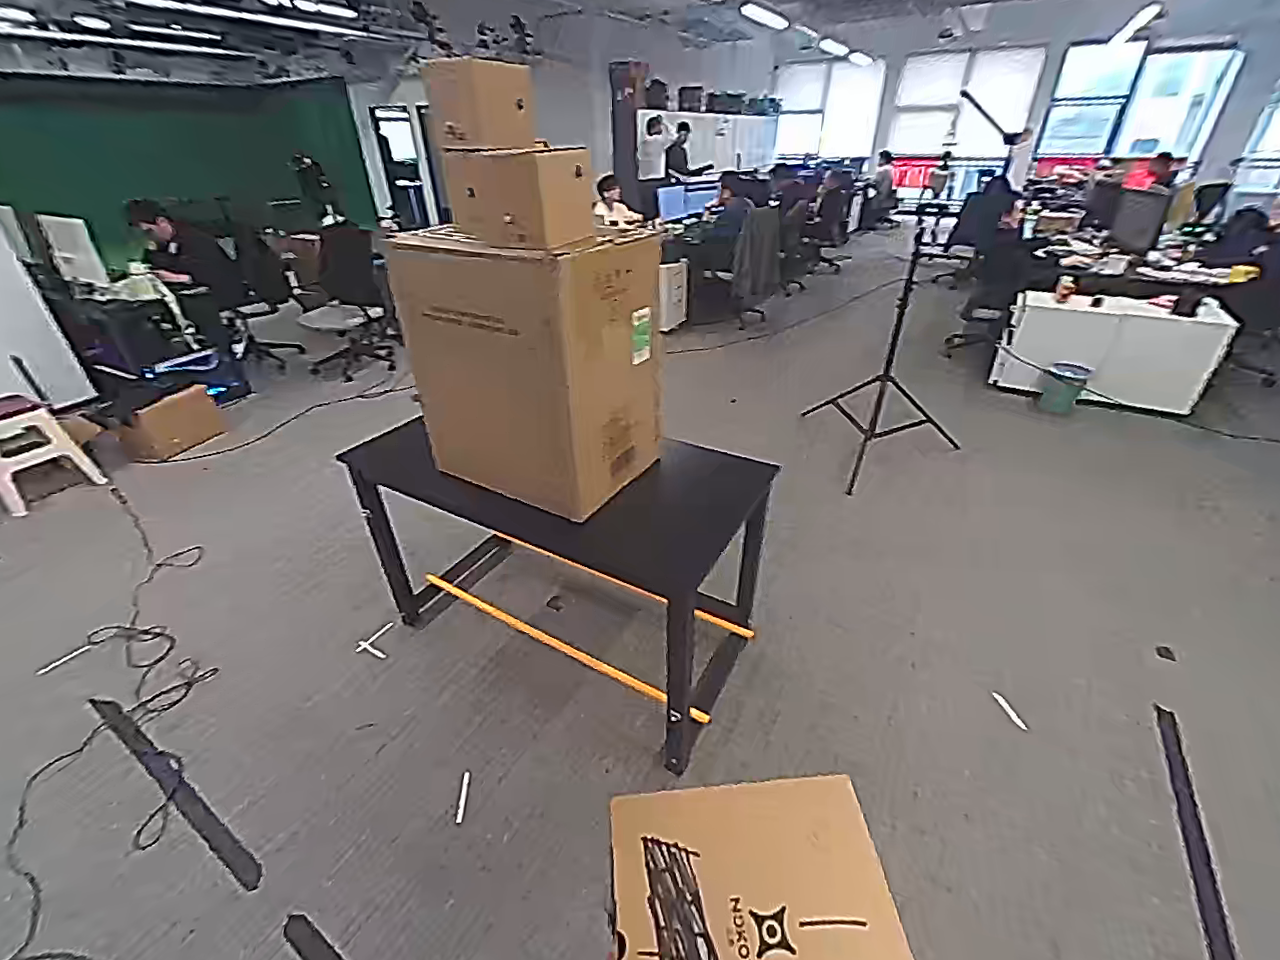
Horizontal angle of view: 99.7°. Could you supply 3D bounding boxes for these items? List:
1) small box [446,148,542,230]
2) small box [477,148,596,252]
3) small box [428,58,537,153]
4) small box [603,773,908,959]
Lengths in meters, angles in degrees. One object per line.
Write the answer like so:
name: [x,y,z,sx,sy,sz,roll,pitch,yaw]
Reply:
small box: [-0.348,-0.727,1.351,0.168,0.176,0.179,19,37,26]
small box: [-0.202,-0.576,1.106,0.168,0.176,0.179,14,37,26]
small box: [-0.354,-0.858,1.251,0.168,0.176,0.179,18,37,28]
small box: [0.070,0.331,0.376,0.179,0.176,0.168,-4,40,-3]
